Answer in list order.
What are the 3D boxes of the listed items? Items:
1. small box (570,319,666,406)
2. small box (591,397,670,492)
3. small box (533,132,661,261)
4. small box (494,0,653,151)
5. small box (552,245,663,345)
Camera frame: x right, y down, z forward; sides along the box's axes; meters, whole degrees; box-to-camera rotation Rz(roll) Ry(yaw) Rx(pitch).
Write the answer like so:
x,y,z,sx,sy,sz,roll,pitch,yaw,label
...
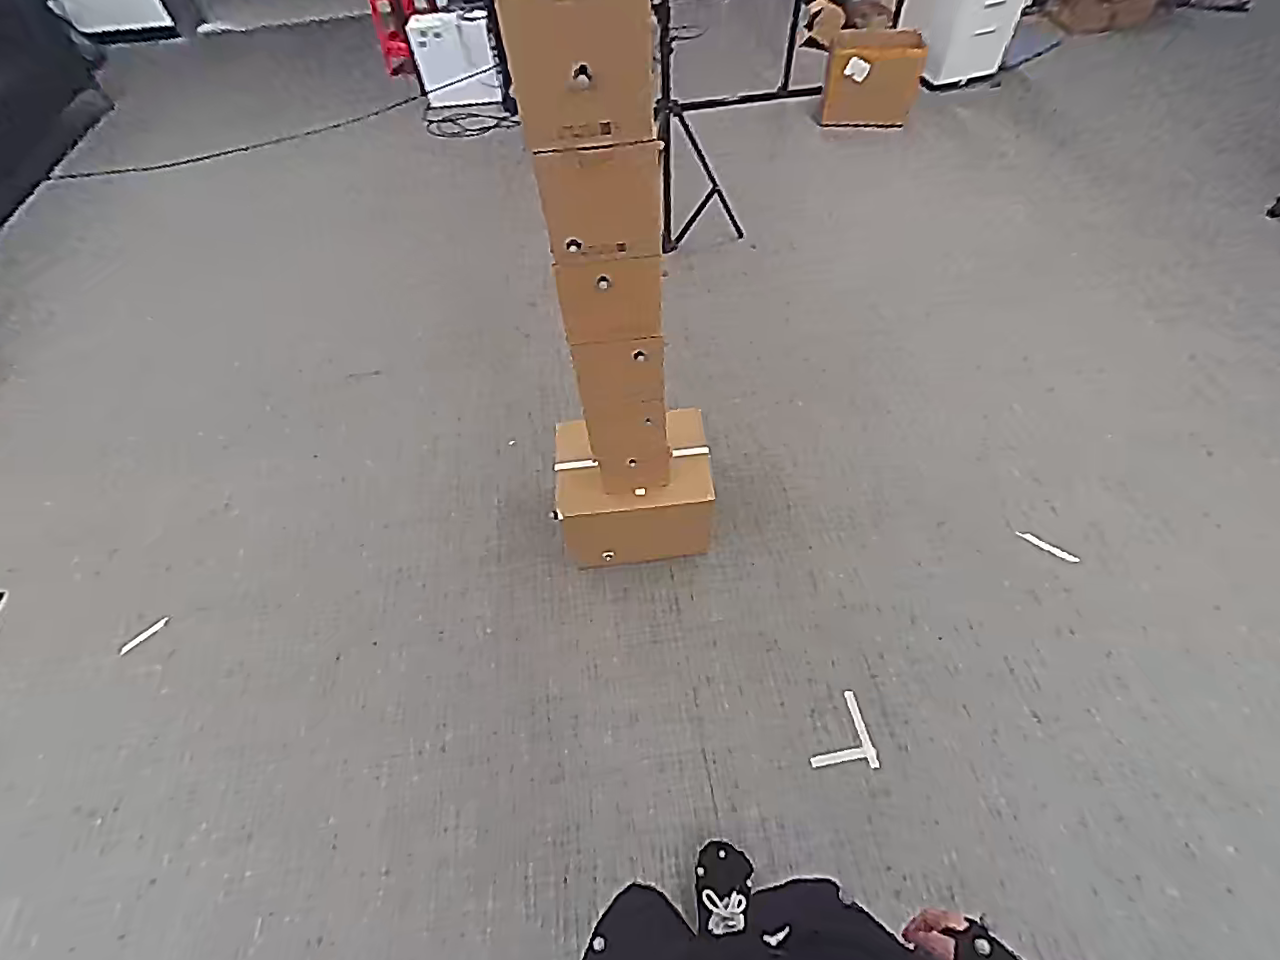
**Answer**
x,y,z,sx,sy,sz,roll,pitch,yaw,label
-0.042,-0.267,1.084,0.179,0.176,0.168,-5,56,1,small box
-0.021,-0.084,1.356,0.179,0.176,0.168,-8,57,-2,small box
-0.059,-0.448,0.814,0.168,0.176,0.179,-5,56,1,small box
-0.075,-0.536,0.676,0.168,0.176,0.179,-6,58,0,small box
-0.052,-0.357,0.950,0.179,0.176,0.168,-5,57,1,small box
